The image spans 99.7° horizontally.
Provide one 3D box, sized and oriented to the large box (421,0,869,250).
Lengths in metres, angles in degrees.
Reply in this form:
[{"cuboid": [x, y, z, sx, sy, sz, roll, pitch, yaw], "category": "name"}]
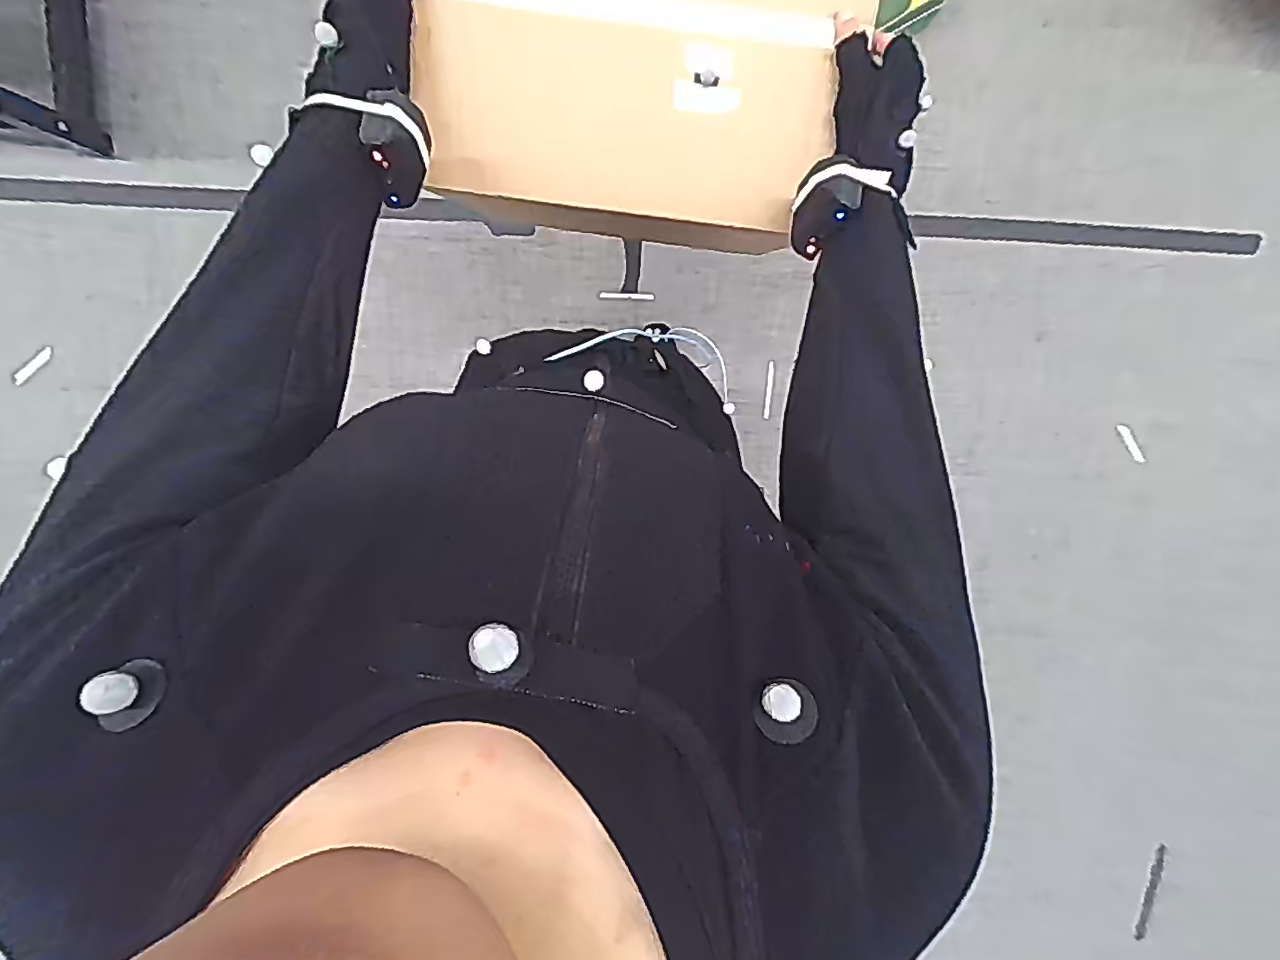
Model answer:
[{"cuboid": [0.000, -0.460, 0.624, 0.408, 0.320, 0.320, 6, 111, -3], "category": "large box"}]
